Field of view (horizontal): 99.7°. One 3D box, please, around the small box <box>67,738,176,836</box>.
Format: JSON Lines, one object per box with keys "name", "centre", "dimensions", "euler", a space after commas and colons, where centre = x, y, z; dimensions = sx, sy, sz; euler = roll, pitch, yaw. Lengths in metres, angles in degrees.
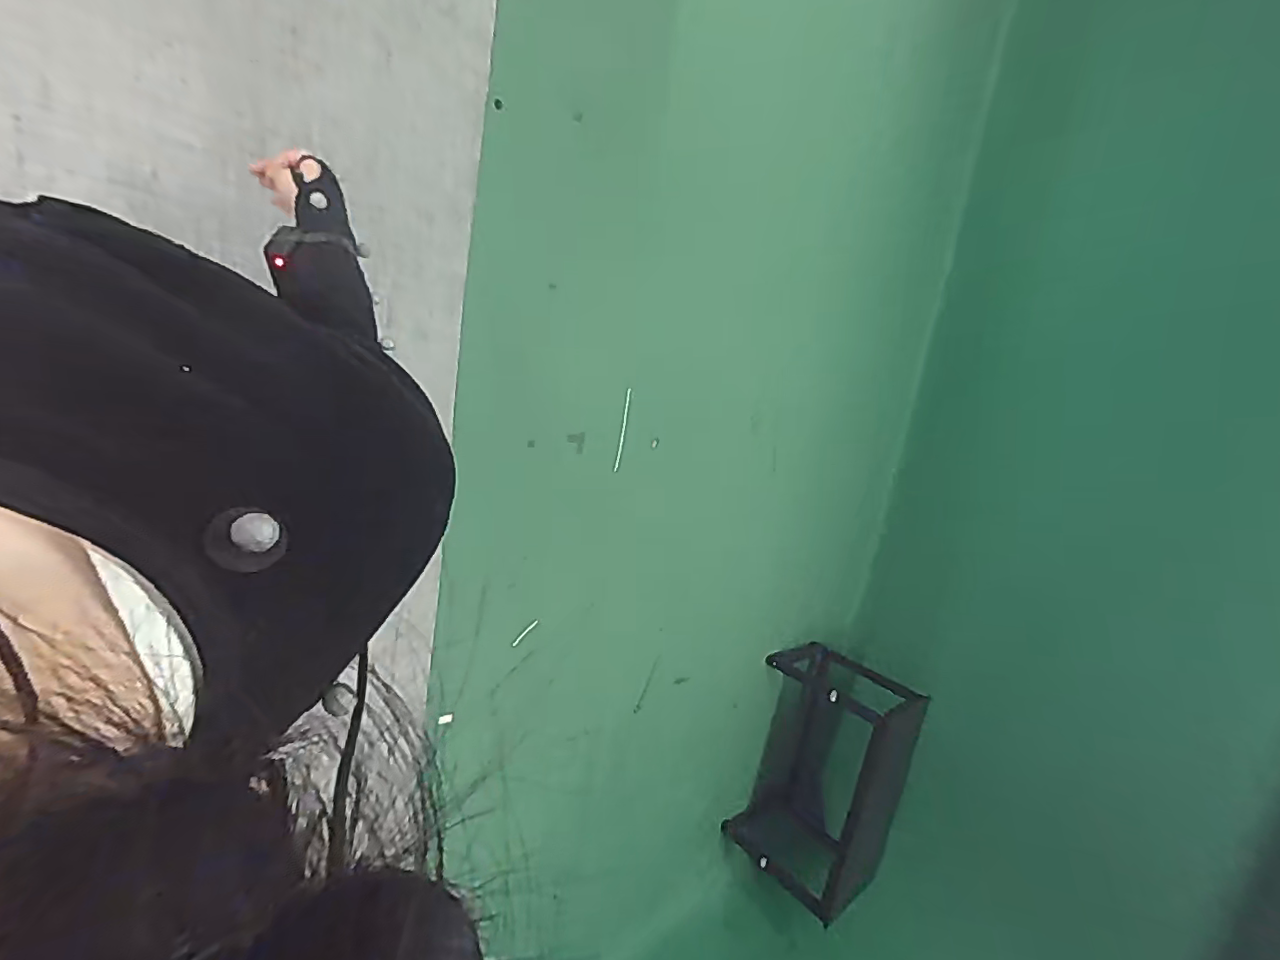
{"name": "small box", "centre": [-1.158, 0.706, 1.206], "dimensions": [0.168, 0.176, 0.179], "euler": [7, 100, -43]}
